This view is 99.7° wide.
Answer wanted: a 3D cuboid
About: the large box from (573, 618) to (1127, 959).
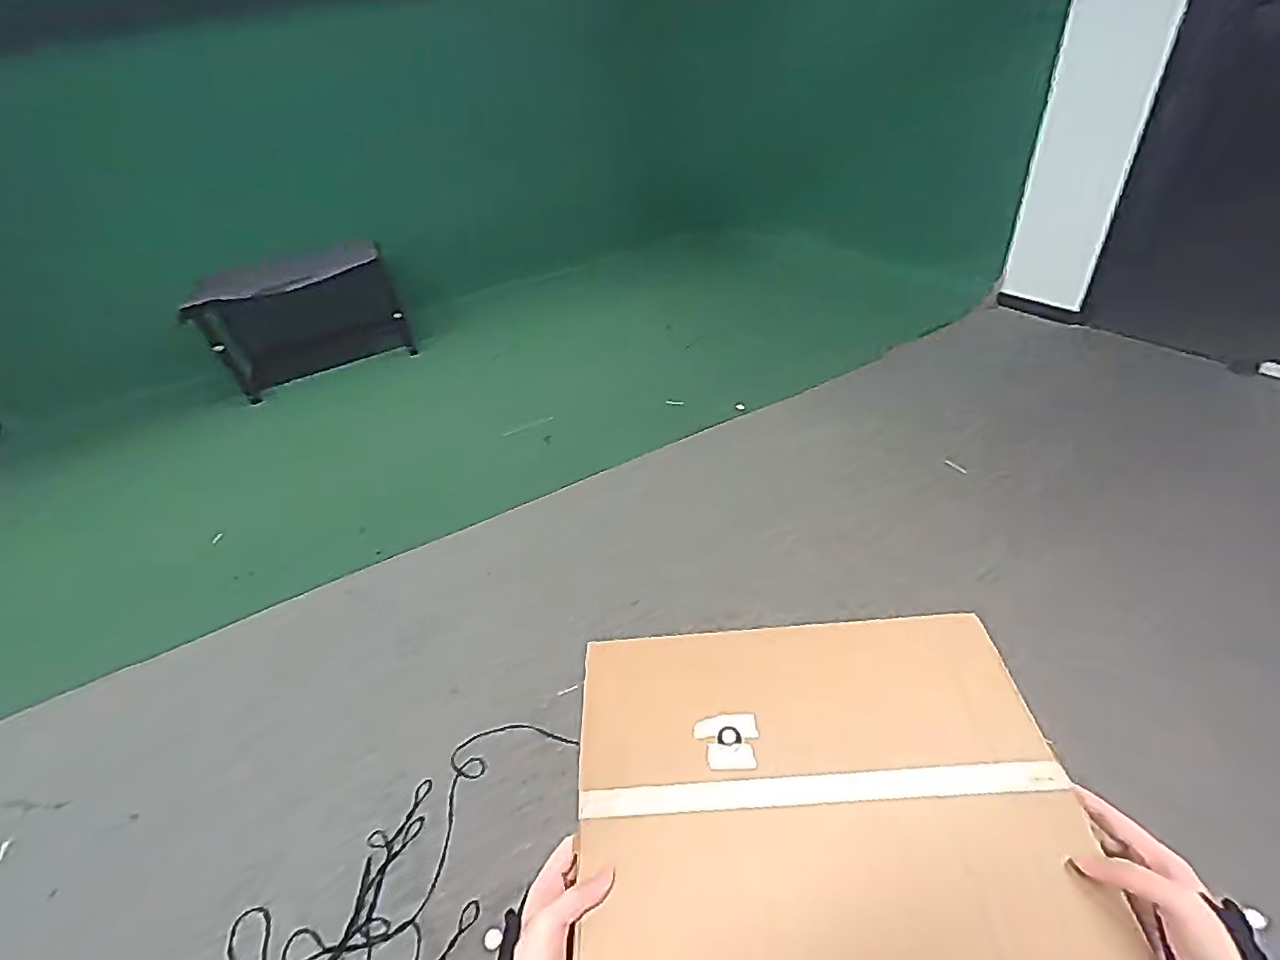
[{"bbox_3d":[0.162,0.379,0.577,0.408,0.320,0.320,-7,45,5],"label":"large box"}]
